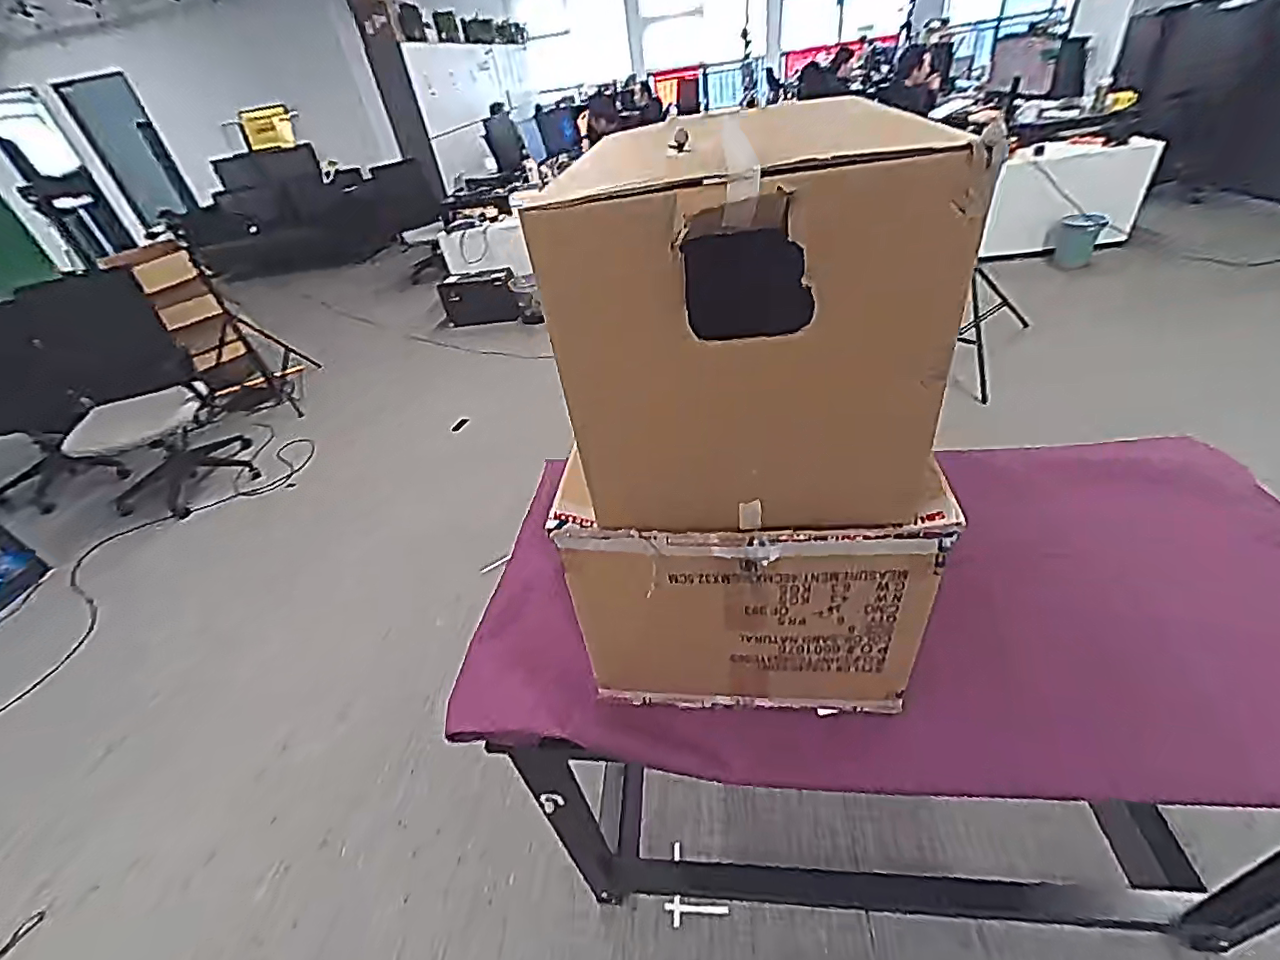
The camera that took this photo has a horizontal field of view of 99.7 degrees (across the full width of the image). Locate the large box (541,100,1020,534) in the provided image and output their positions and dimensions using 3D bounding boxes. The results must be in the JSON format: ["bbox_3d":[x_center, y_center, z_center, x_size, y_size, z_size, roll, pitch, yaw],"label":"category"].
[{"bbox_3d":[0.114,-0.193,0.591,0.320,0.320,0.408,-4,38,9],"label":"large box"}]
